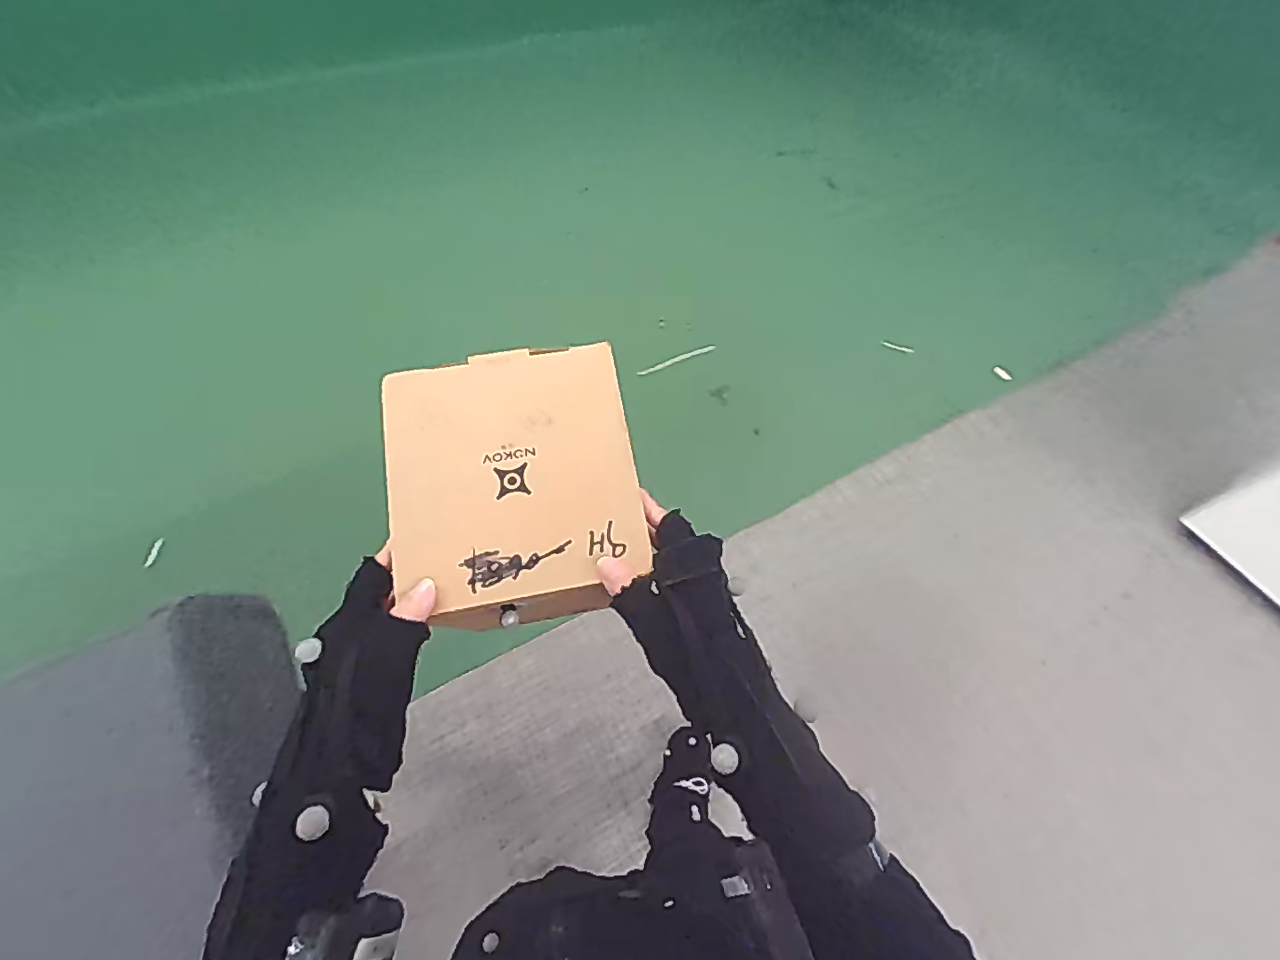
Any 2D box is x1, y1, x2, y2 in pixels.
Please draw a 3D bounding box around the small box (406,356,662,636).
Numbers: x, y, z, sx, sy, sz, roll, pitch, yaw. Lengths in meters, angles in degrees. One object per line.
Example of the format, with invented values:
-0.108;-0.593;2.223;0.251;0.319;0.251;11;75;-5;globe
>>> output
-0.080;0.024;0.448;0.168;0.176;0.179;-8;71;-4;small box
